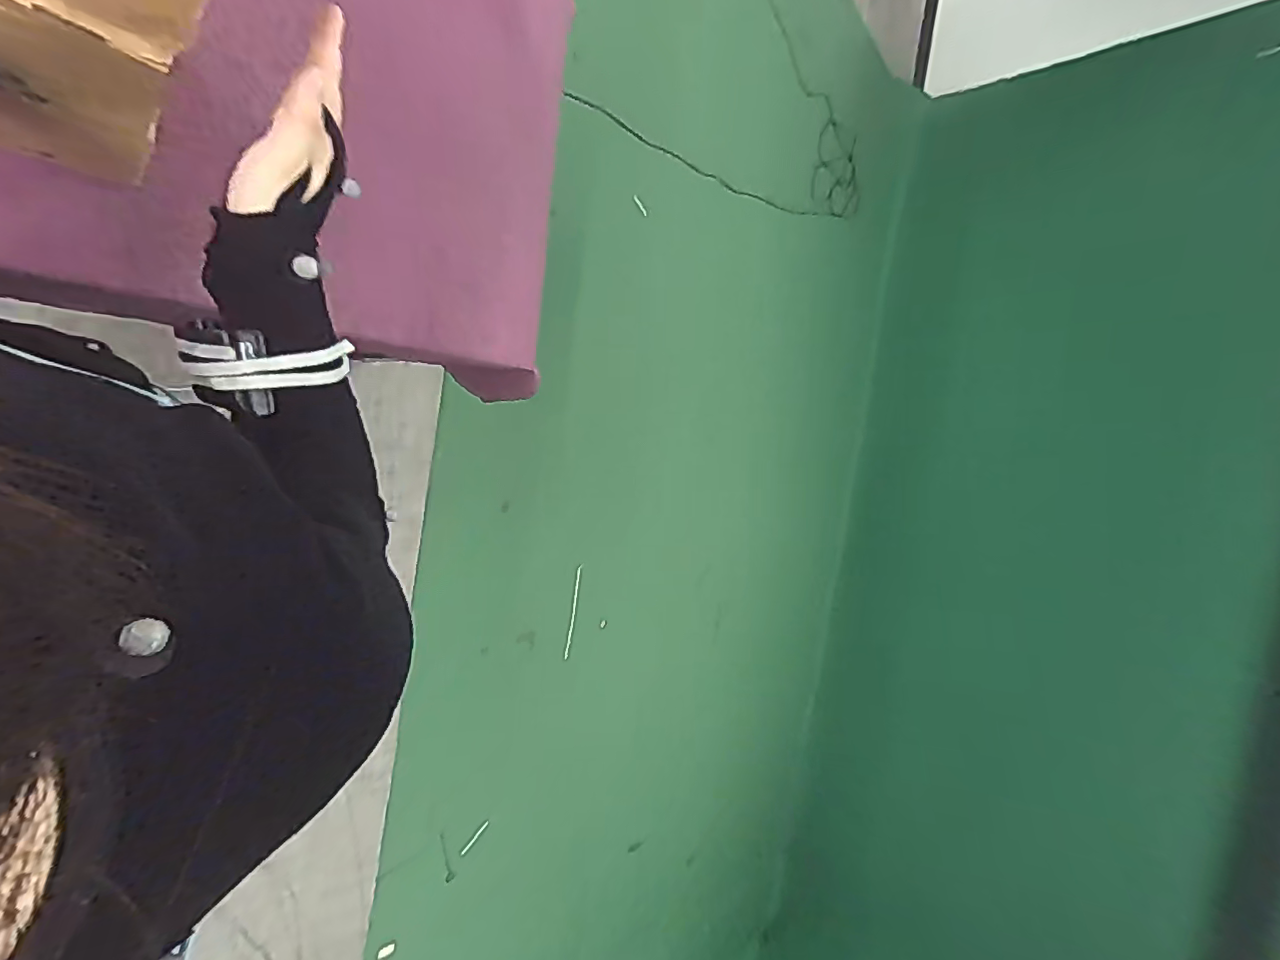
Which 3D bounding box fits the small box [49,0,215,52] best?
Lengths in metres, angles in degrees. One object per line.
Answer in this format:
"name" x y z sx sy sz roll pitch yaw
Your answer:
"small box" -0.274 -0.345 0.229 0.168 0.176 0.179 4 95 -48
